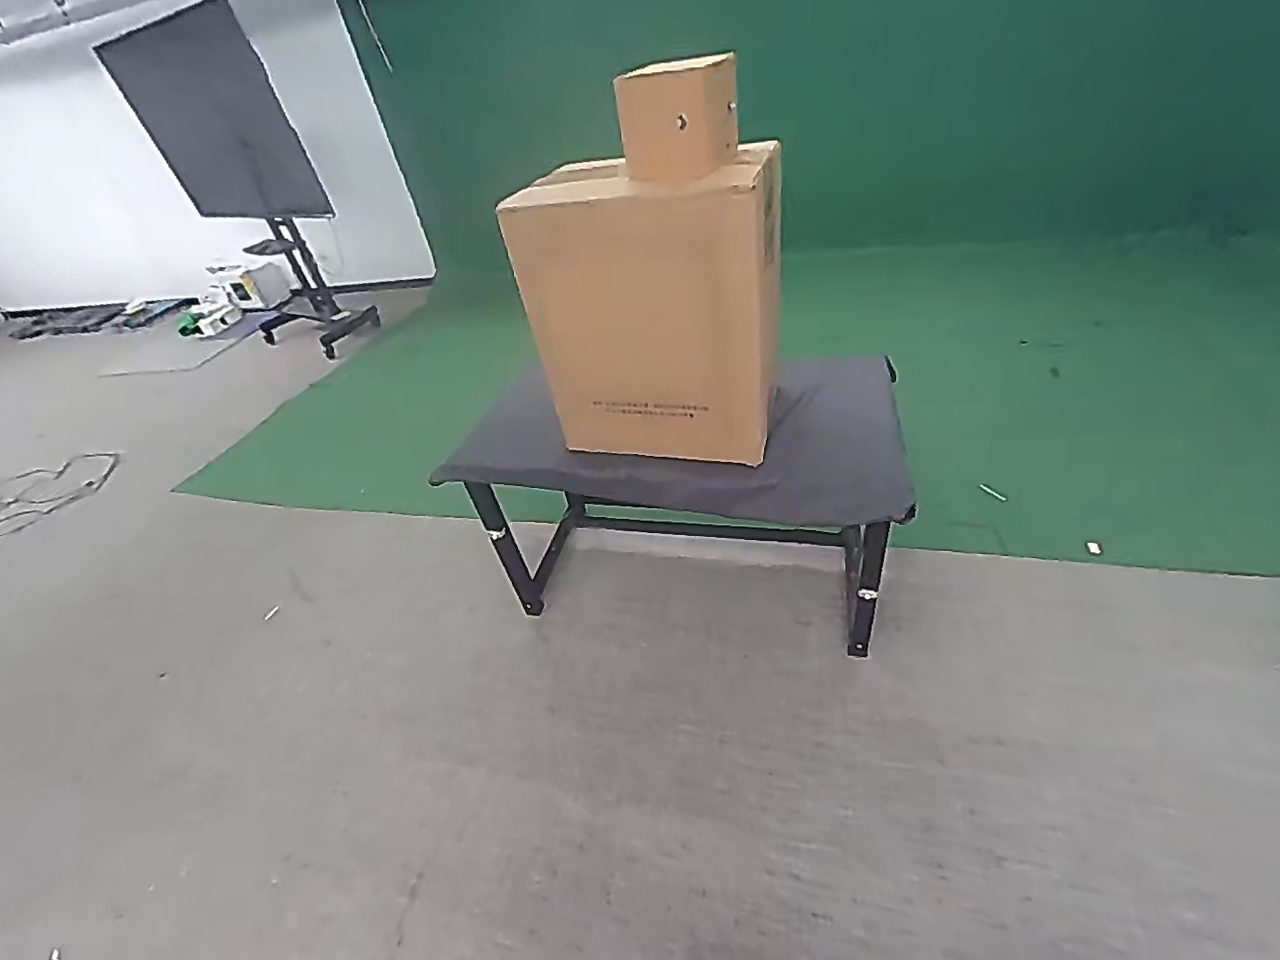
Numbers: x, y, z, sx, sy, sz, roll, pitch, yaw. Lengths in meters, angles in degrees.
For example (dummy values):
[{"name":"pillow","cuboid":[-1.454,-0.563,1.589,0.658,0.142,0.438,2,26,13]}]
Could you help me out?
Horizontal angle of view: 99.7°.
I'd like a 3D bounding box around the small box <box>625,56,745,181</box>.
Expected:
[{"name":"small box","cuboid":[0.097,-0.698,1.053,0.179,0.176,0.168,14,46,28]}]
